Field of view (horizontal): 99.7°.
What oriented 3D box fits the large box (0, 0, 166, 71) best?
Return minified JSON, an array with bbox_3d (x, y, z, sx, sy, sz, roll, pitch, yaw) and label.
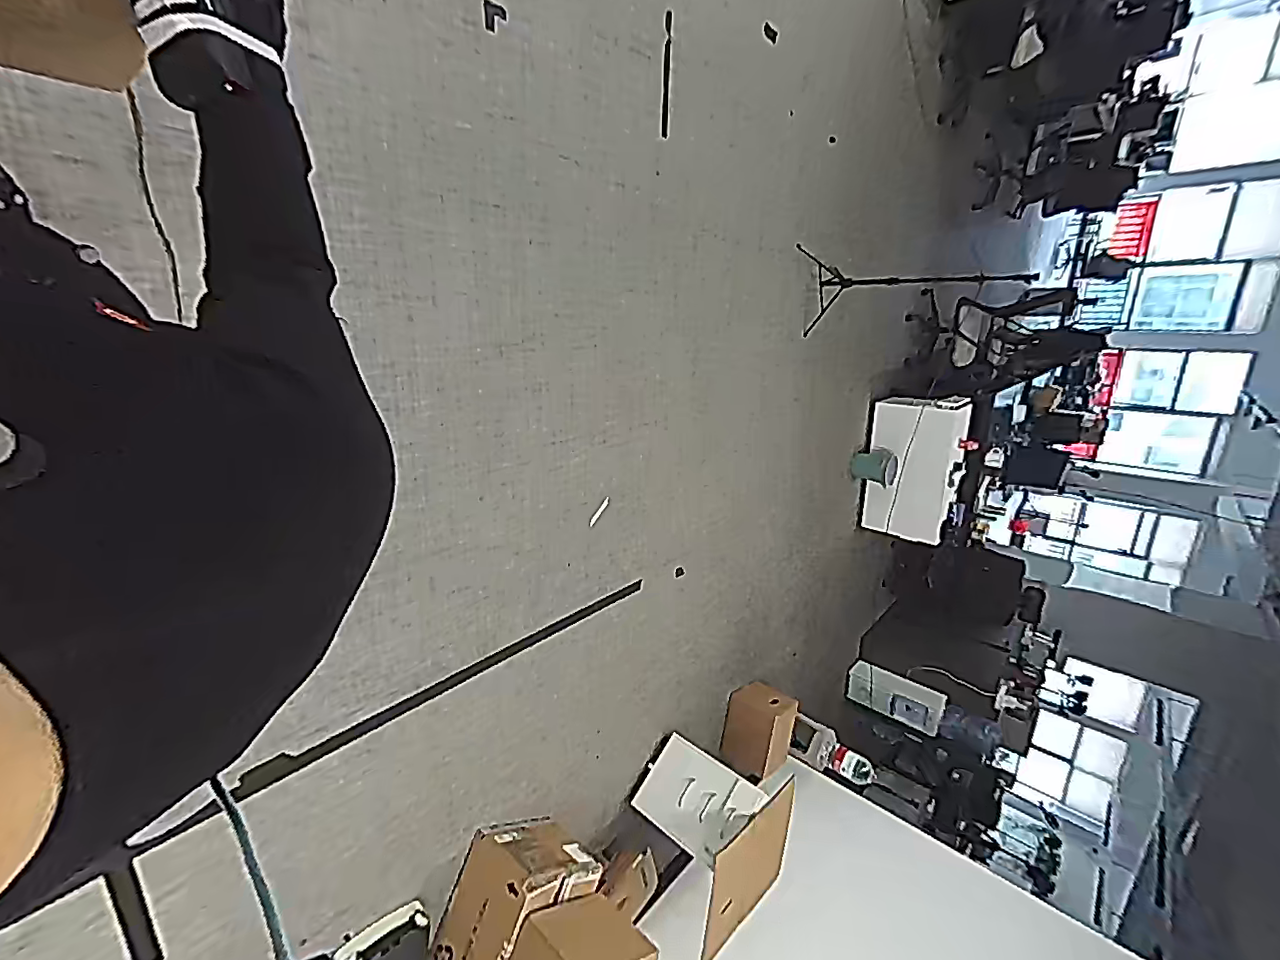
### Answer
[{"bbox_3d":[-0.560,-0.486,0.283,0.408,0.320,0.320,-18,119,-47],"label":"large box"}]
